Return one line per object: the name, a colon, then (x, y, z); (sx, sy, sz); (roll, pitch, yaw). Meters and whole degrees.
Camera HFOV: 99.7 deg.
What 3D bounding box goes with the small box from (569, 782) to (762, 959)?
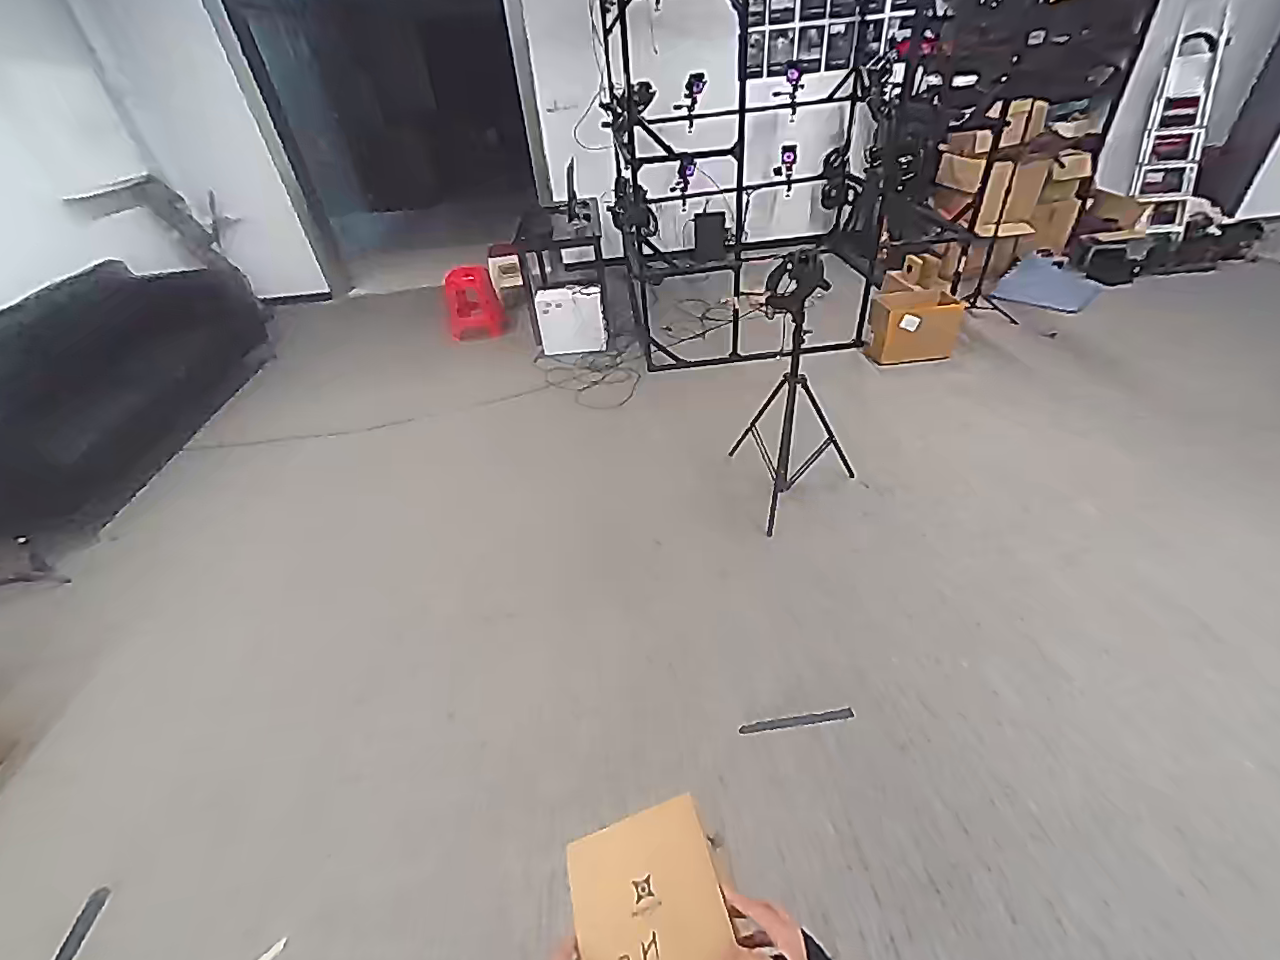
small box: (0.031, 0.500, 0.624); (0.168, 0.176, 0.179); (-23, 32, -1)
